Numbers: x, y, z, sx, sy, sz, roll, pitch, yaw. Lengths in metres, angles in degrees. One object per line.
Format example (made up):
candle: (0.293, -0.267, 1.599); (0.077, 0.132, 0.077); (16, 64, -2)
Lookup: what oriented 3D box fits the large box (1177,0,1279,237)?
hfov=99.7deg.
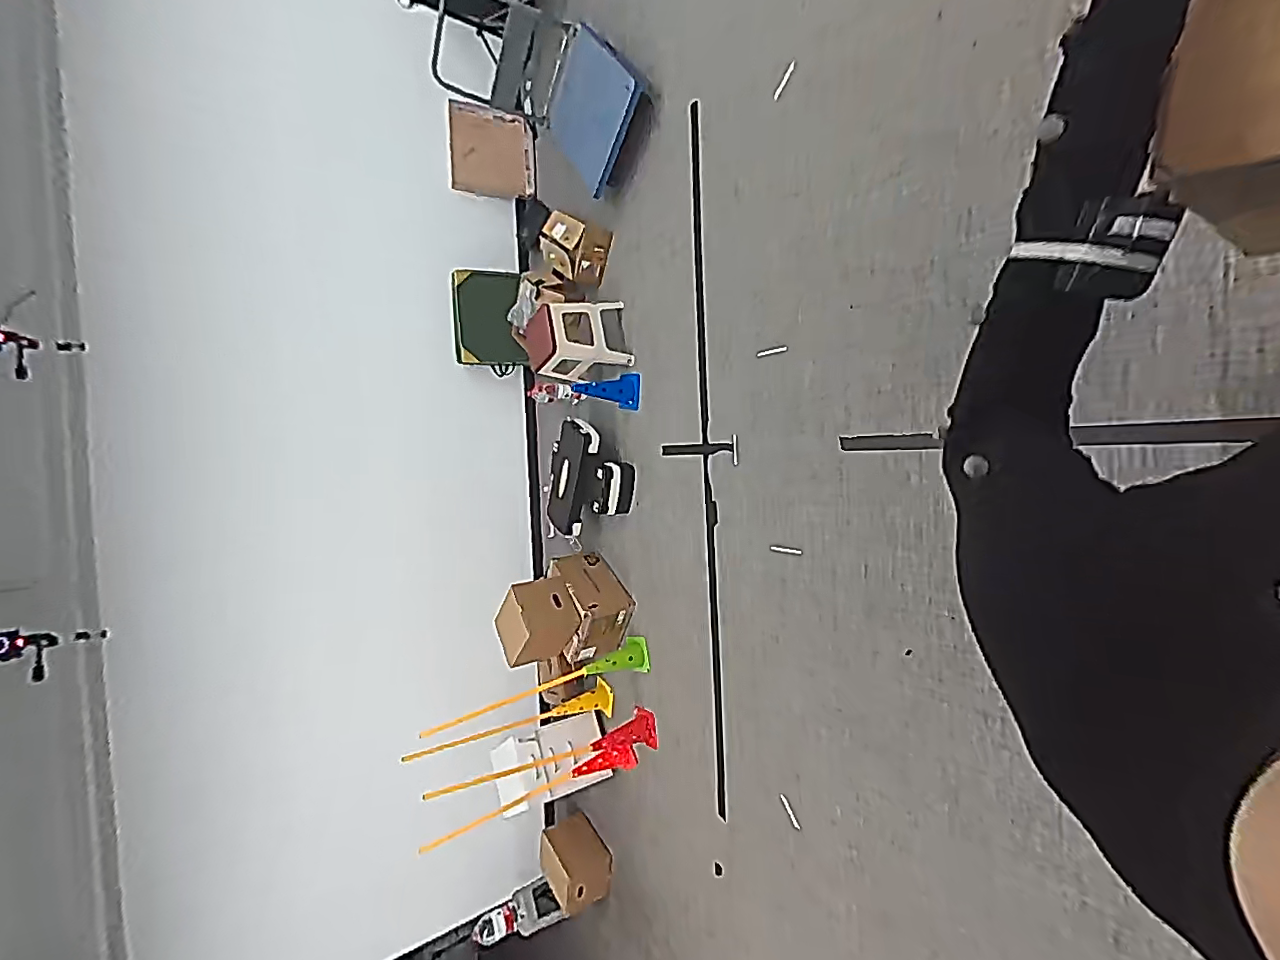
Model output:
large box: (0.590, -0.353, 0.265); (0.408, 0.320, 0.320); (12, 105, 54)
